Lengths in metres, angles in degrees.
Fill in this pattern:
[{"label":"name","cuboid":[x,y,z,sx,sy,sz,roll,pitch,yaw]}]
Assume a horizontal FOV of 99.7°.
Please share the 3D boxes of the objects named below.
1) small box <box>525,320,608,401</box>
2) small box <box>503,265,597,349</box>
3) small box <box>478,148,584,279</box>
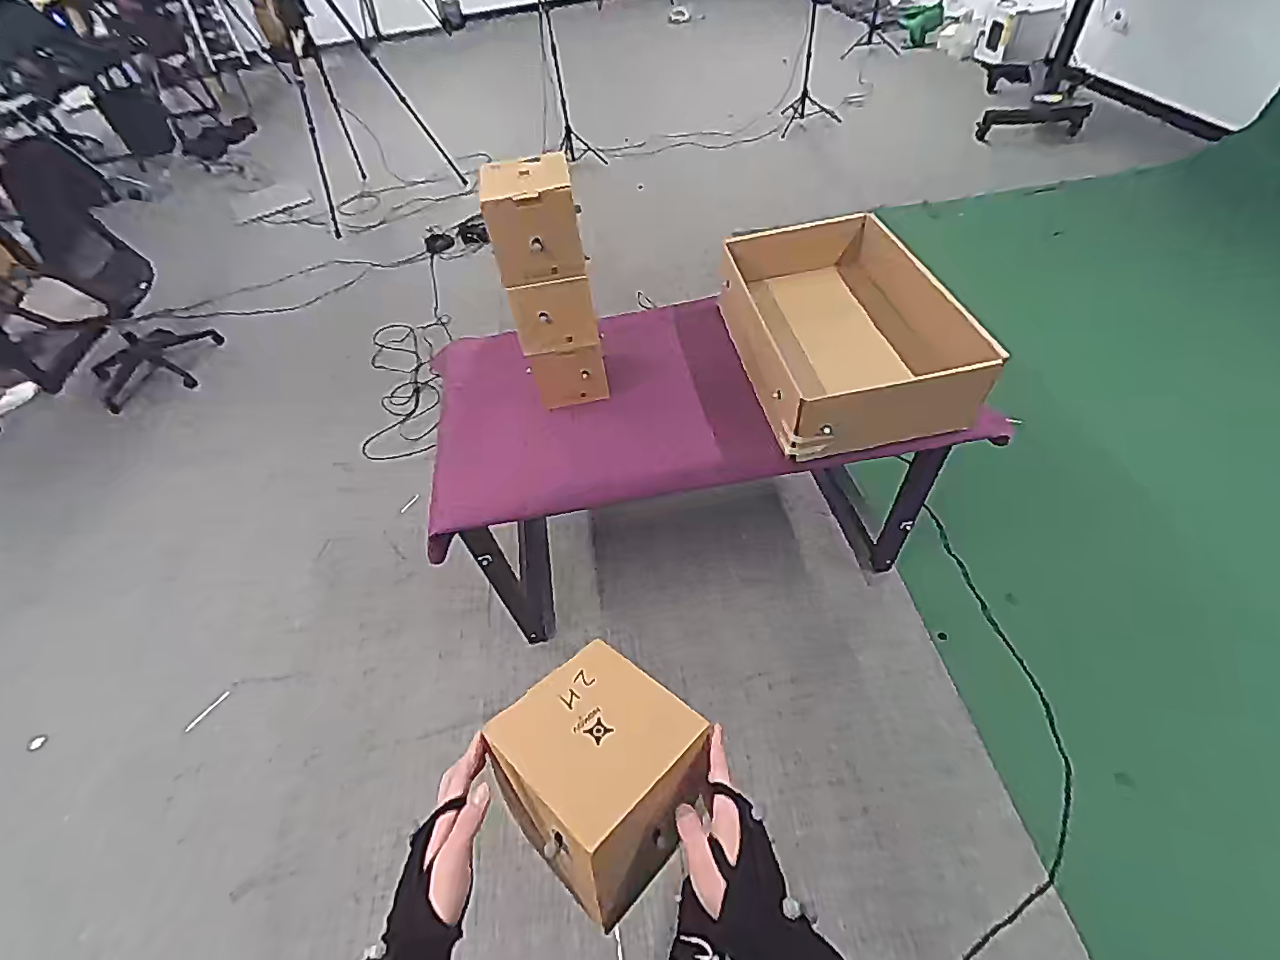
[{"label":"small box","cuboid":[-0.176,-0.306,1.304,0.168,0.176,0.179,-10,51,-2]},{"label":"small box","cuboid":[-0.192,-0.403,1.175,0.168,0.176,0.179,-10,51,-2]},{"label":"small box","cuboid":[-0.207,-0.509,1.051,0.168,0.176,0.179,-11,51,-2]}]
